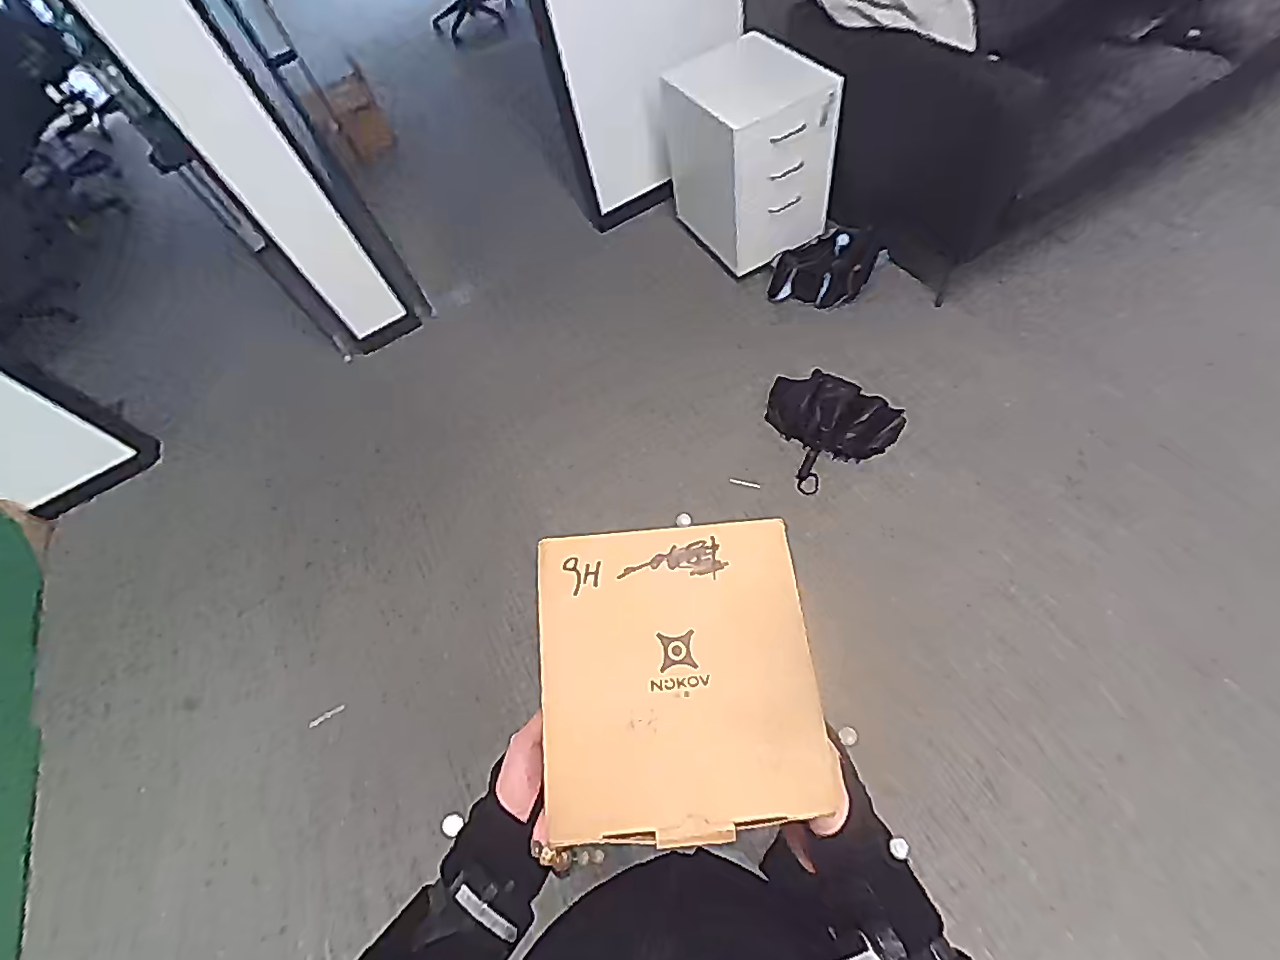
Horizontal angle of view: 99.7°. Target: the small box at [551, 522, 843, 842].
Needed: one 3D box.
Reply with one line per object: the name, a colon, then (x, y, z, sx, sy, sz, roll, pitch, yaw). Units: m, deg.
small box: (0.028, 0.140, 0.405, 0.168, 0.176, 0.179, -4, 70, -3)
